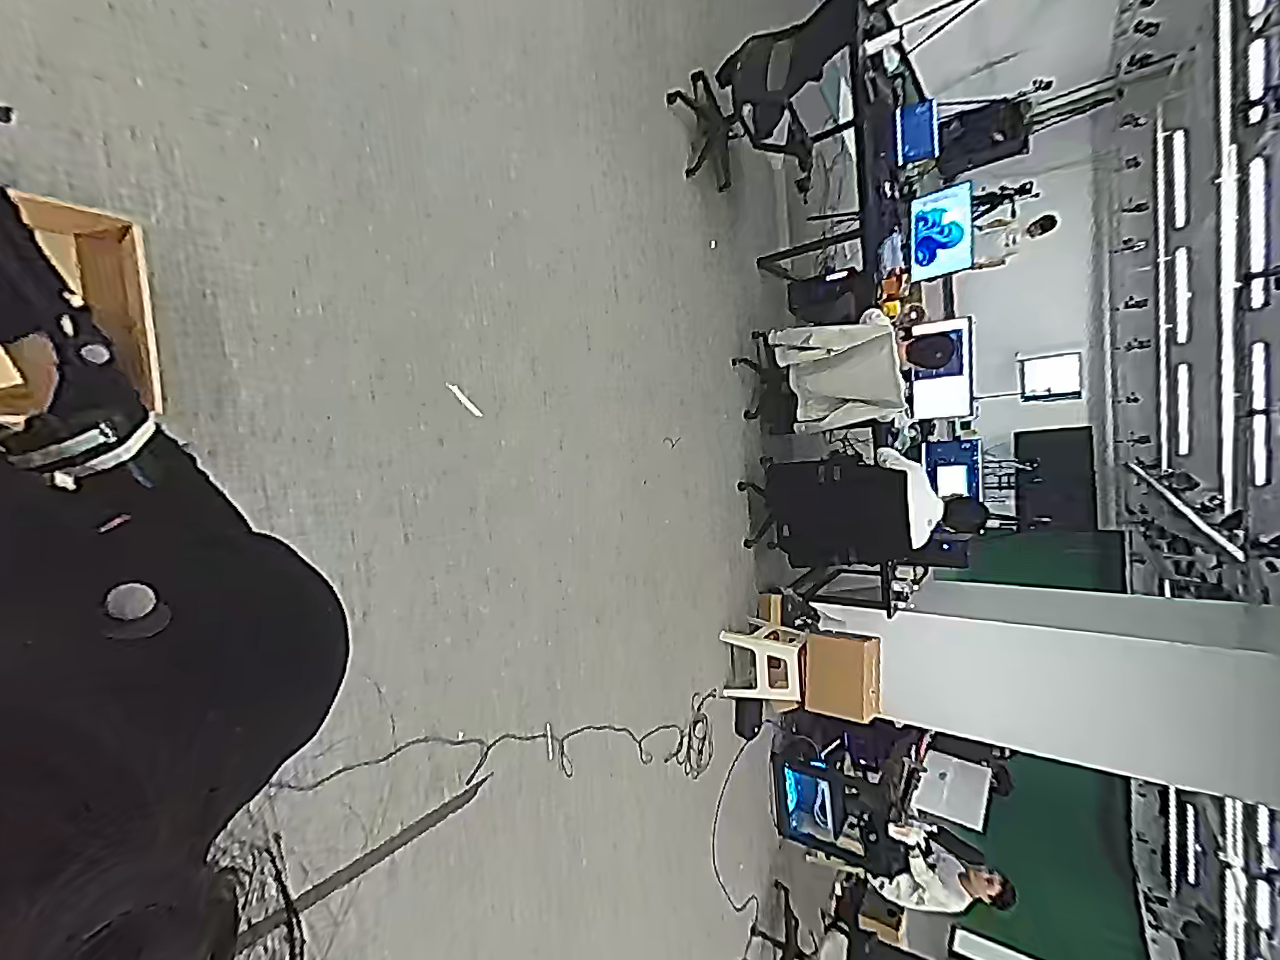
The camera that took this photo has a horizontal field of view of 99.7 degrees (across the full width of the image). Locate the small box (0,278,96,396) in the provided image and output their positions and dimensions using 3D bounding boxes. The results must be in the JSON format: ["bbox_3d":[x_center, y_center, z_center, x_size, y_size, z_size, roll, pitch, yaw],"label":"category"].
[{"bbox_3d":[-1.102,-0.244,0.942,0.168,0.176,0.179,-27,109,-50],"label":"small box"}]
